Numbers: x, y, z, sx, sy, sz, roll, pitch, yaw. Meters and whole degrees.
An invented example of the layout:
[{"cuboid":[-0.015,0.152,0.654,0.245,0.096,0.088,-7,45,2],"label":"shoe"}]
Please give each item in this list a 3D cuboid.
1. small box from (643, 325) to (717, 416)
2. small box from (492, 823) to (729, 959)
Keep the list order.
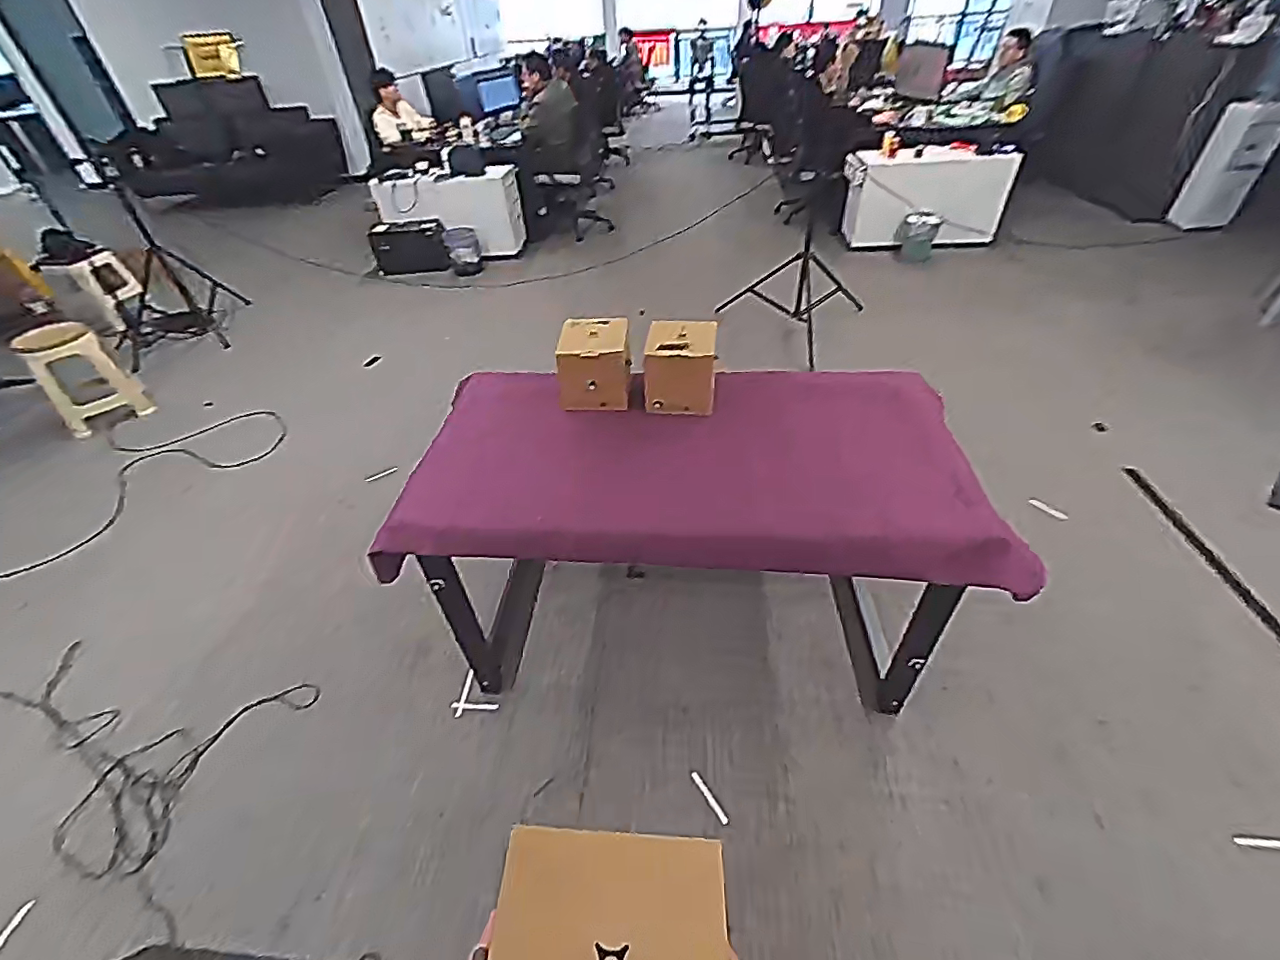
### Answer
[{"cuboid":[0.105,-0.274,1.359,0.168,0.176,0.179,3,42,8],"label":"small box"},{"cuboid":[-0.027,0.393,0.415,0.168,0.176,0.179,5,42,-2],"label":"small box"}]
